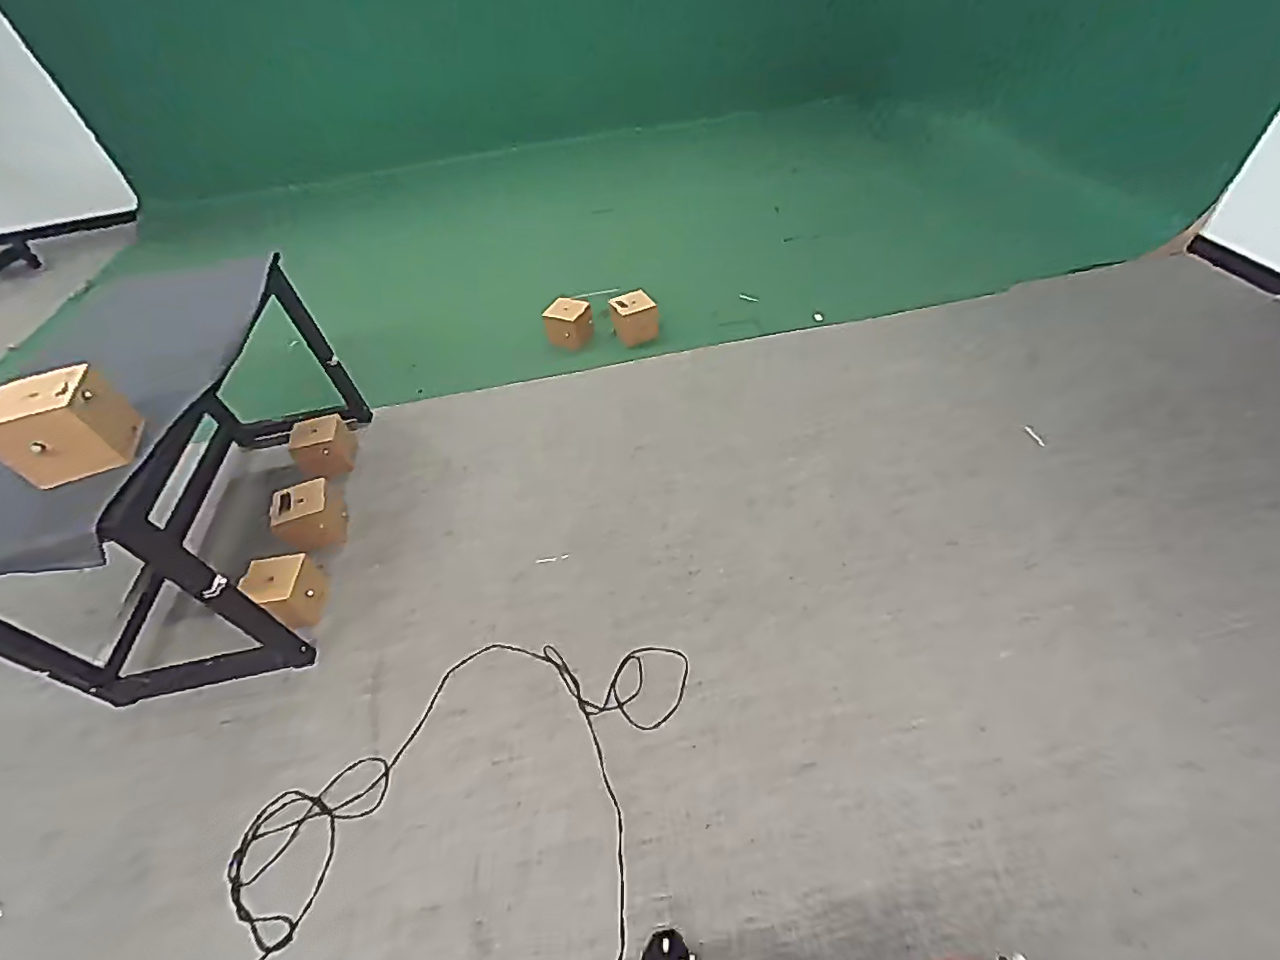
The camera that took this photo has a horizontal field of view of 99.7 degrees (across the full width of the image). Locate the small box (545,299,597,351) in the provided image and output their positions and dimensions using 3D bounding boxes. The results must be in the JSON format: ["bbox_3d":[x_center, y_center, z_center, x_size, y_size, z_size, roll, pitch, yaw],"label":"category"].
[{"bbox_3d":[-0.324,-0.734,2.572,0.179,0.176,0.168,16,52,21],"label":"small box"}]

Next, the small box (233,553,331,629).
[{"bbox_3d":[-1.120,0.353,1.710,0.179,0.176,0.168,-8,48,1],"label":"small box"}]

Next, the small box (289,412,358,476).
[{"bbox_3d":[-1.254,-0.141,2.159,0.179,0.176,0.168,-14,48,-6],"label":"small box"}]

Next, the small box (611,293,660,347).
[{"bbox_3d":[-0.017,-0.751,2.548,0.179,0.176,0.168,-22,50,-14],"label":"small box"}]

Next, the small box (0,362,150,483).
[{"bbox_3d":[-1.224,-0.120,1.160,0.179,0.176,0.168,-20,49,-11],"label":"small box"}]
